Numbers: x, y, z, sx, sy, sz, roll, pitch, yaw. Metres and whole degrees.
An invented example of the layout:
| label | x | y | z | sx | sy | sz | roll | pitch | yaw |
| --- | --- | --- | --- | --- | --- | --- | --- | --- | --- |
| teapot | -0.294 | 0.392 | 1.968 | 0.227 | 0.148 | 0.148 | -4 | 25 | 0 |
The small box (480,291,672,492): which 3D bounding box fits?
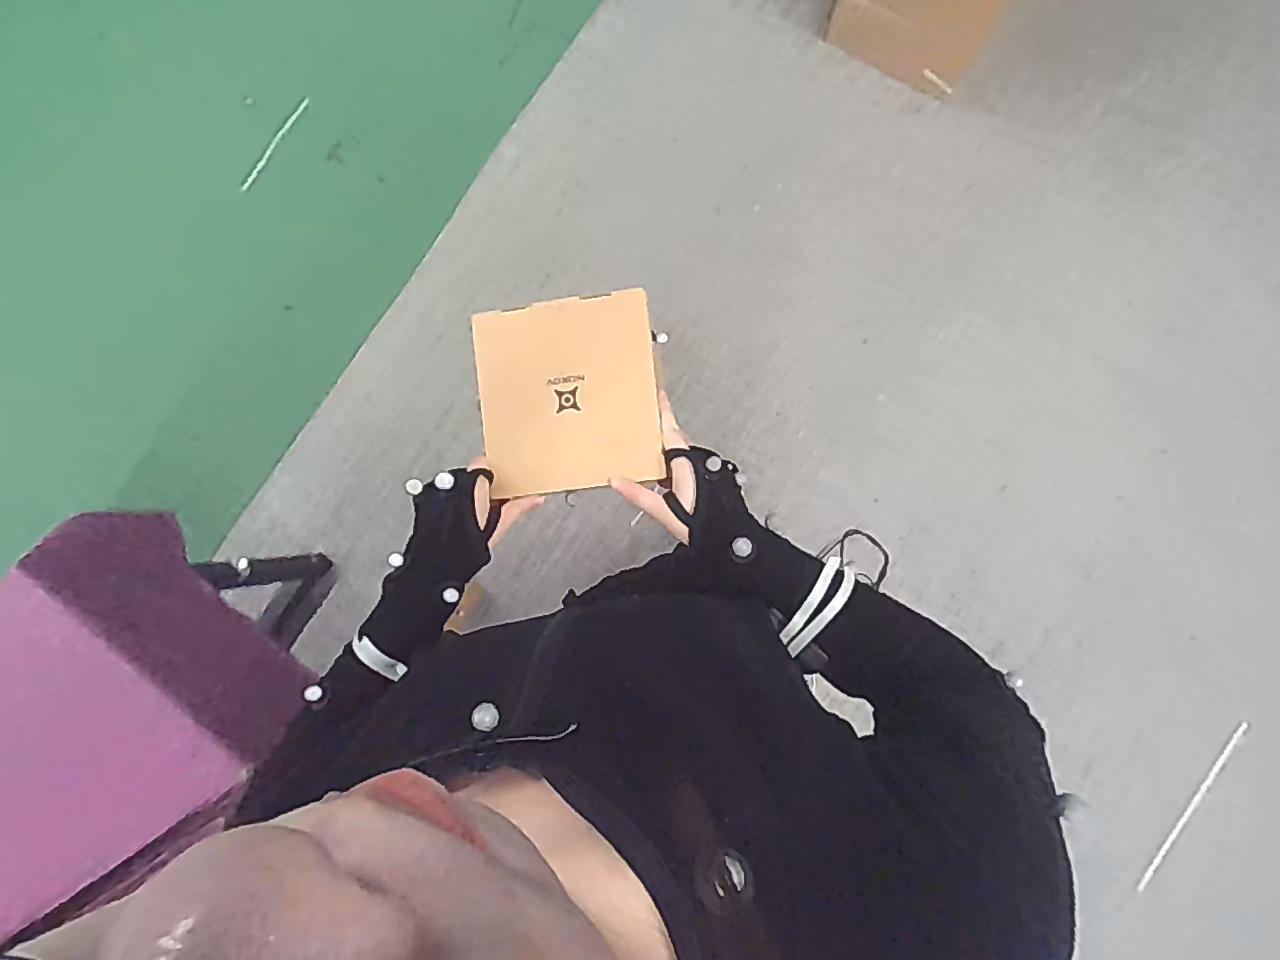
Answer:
| label | x | y | z | sx | sy | sz | roll | pitch | yaw |
| --- | --- | --- | --- | --- | --- | --- | --- | --- | --- |
| small box | -0.056 | -0.083 | 0.585 | 0.168 | 0.176 | 0.179 | -6 | 89 | 6 |
